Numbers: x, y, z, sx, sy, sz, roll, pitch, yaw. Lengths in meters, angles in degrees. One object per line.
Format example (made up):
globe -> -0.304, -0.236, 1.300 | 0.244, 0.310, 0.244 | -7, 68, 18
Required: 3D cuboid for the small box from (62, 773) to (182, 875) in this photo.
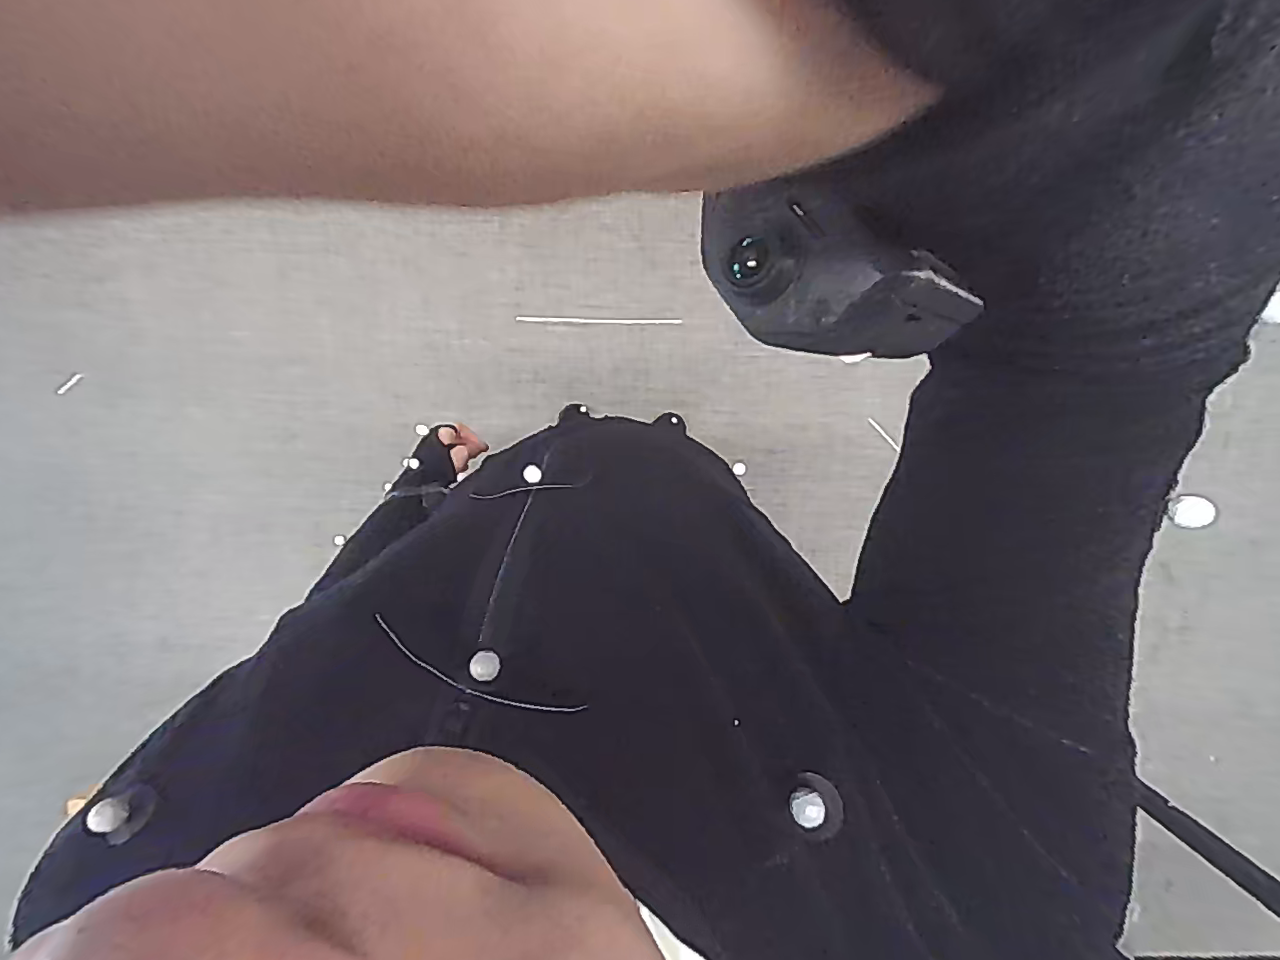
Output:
small box -> -1.391, 0.923, 1.464 | 0.168, 0.176, 0.179 | 1, 97, -1
